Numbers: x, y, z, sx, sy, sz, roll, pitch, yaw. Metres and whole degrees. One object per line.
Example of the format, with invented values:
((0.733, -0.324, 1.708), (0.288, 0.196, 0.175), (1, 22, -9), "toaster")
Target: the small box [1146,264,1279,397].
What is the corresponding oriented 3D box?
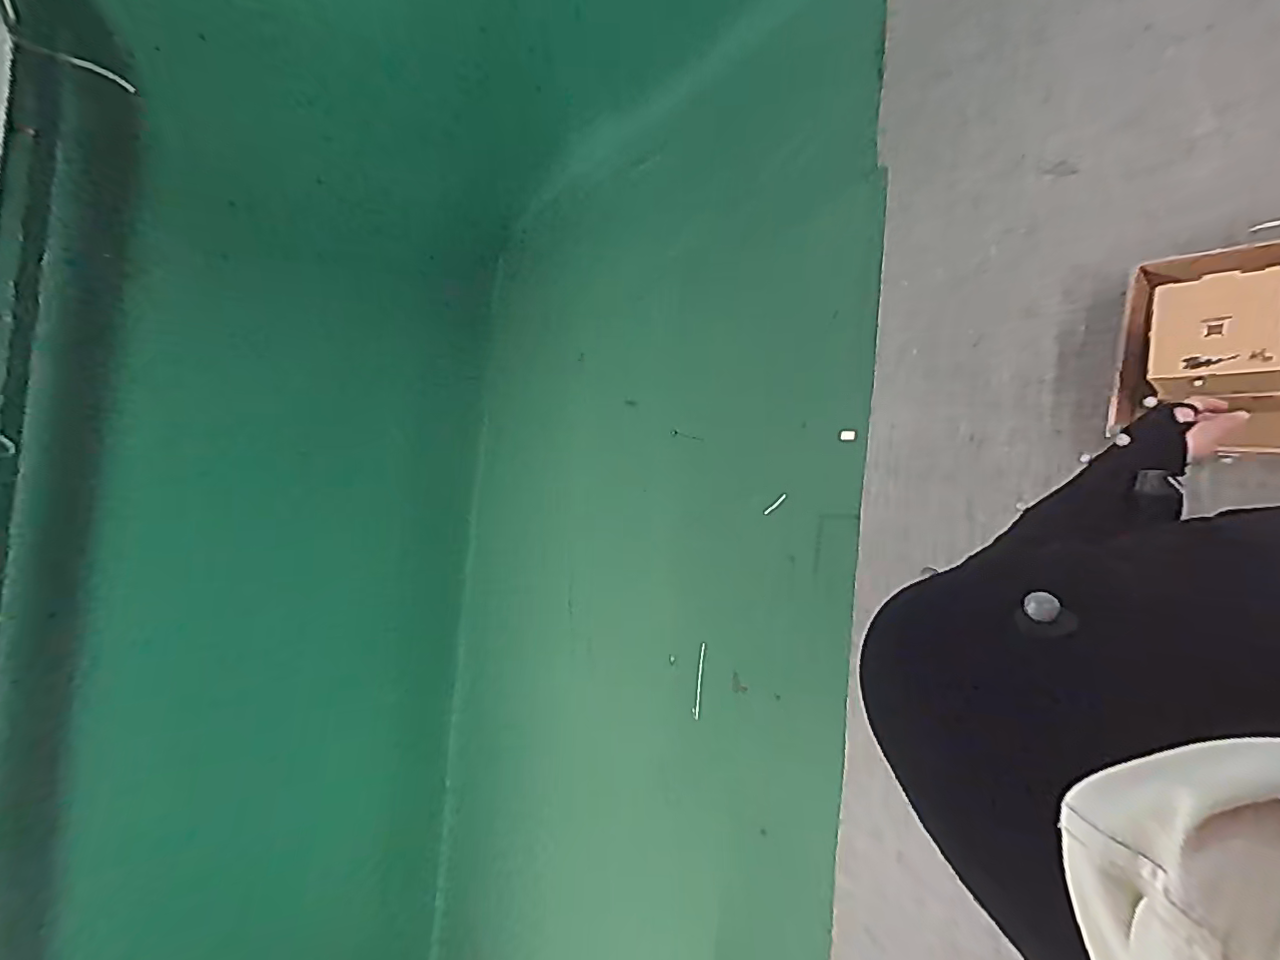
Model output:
((1.044, -0.257, 0.969), (0.168, 0.176, 0.179), (6, 88, 52), "small box")
